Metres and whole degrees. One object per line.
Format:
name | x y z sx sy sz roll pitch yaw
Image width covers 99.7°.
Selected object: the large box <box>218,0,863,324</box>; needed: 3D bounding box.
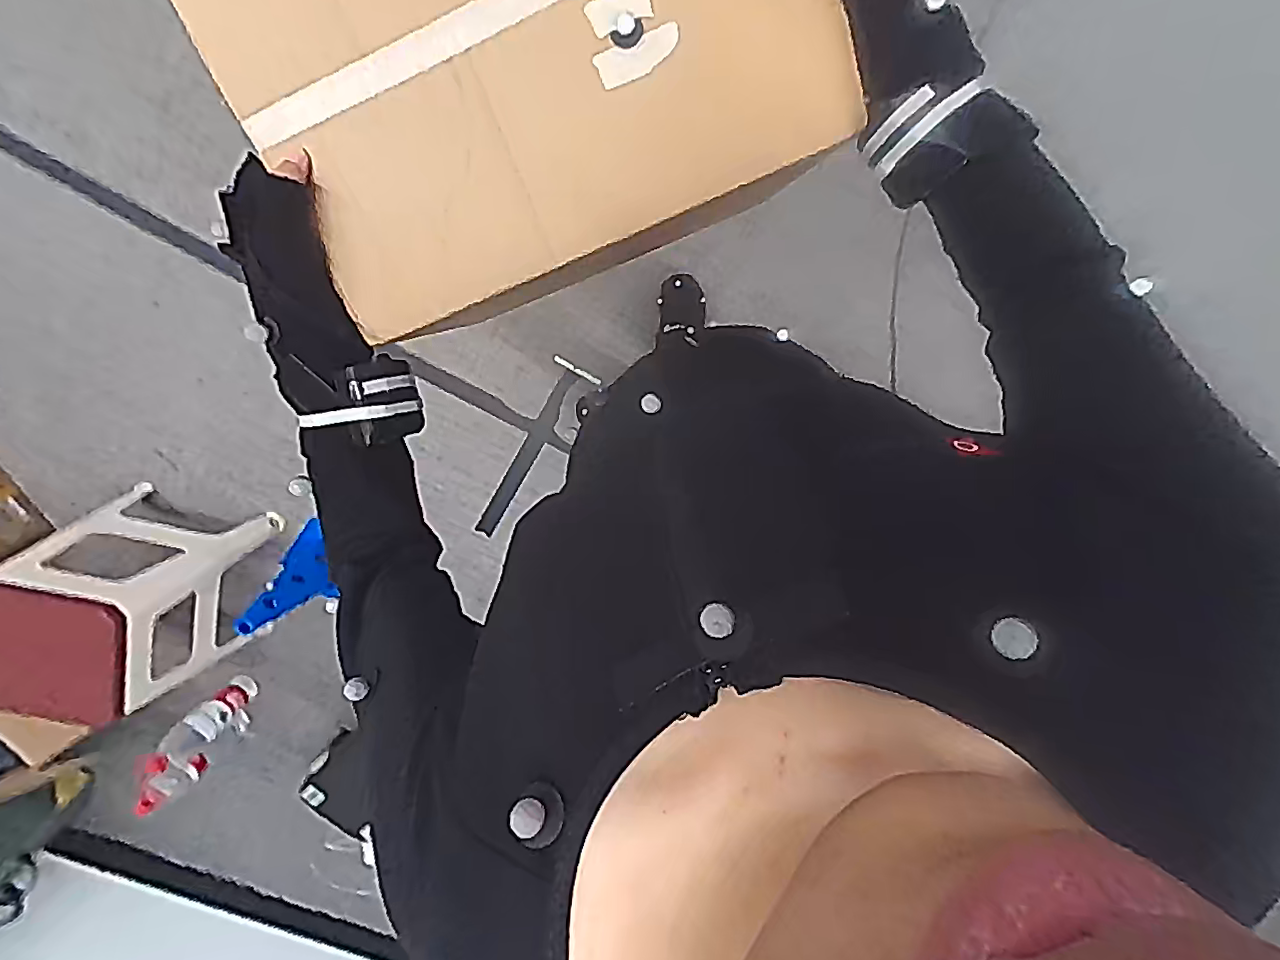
large box | -0.077 -0.373 0.510 0.408 0.320 0.320 -20 108 6
